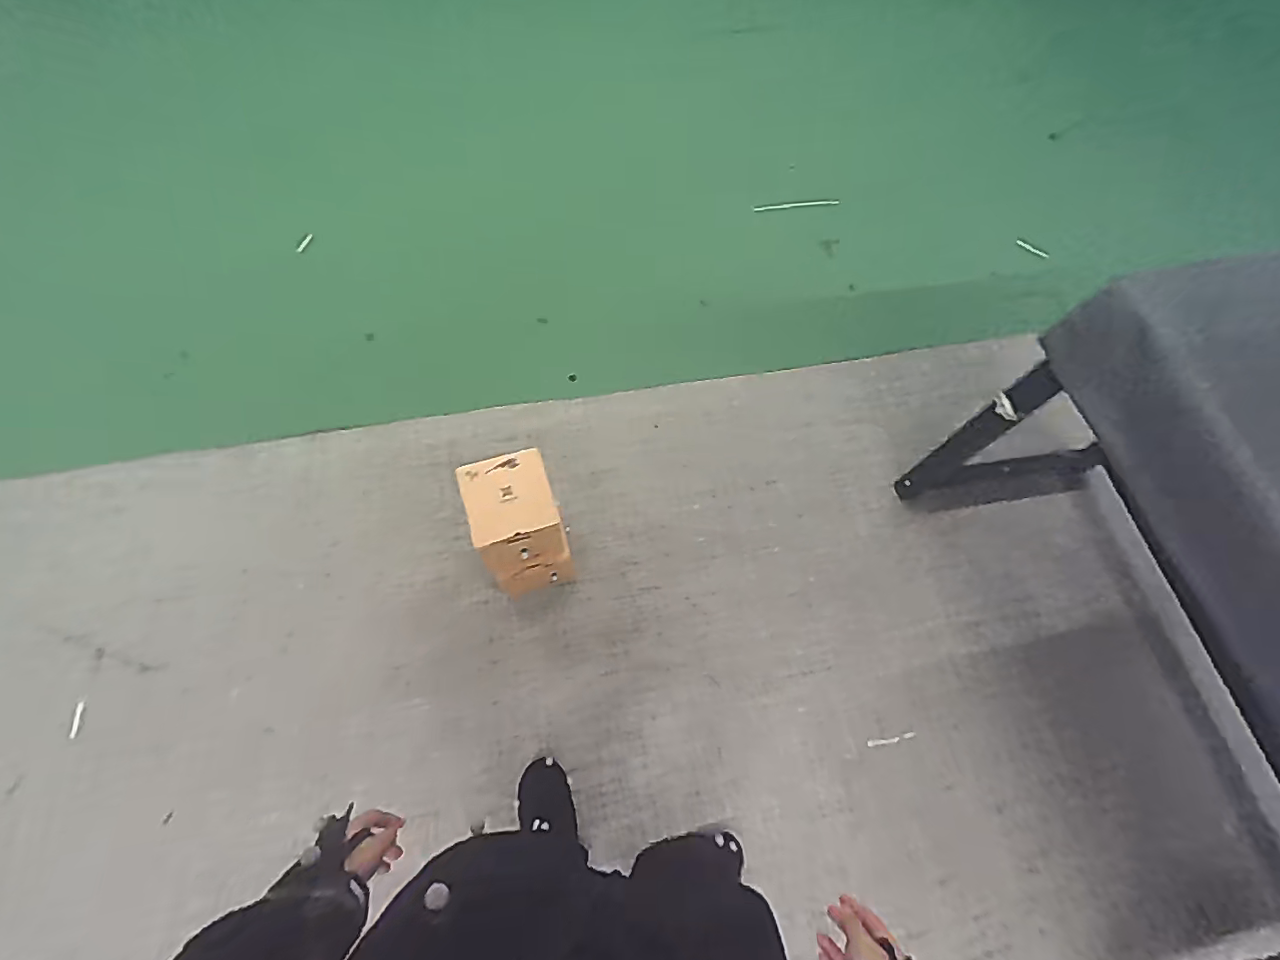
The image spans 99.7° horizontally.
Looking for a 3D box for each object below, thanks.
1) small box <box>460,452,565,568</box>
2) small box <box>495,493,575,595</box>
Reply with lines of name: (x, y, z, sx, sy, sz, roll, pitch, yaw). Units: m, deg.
small box: (-0.256, 0.070, 1.113, 0.168, 0.176, 0.179, -15, 68, -12)
small box: (-0.250, 0.156, 1.255, 0.168, 0.176, 0.179, -15, 66, -11)
